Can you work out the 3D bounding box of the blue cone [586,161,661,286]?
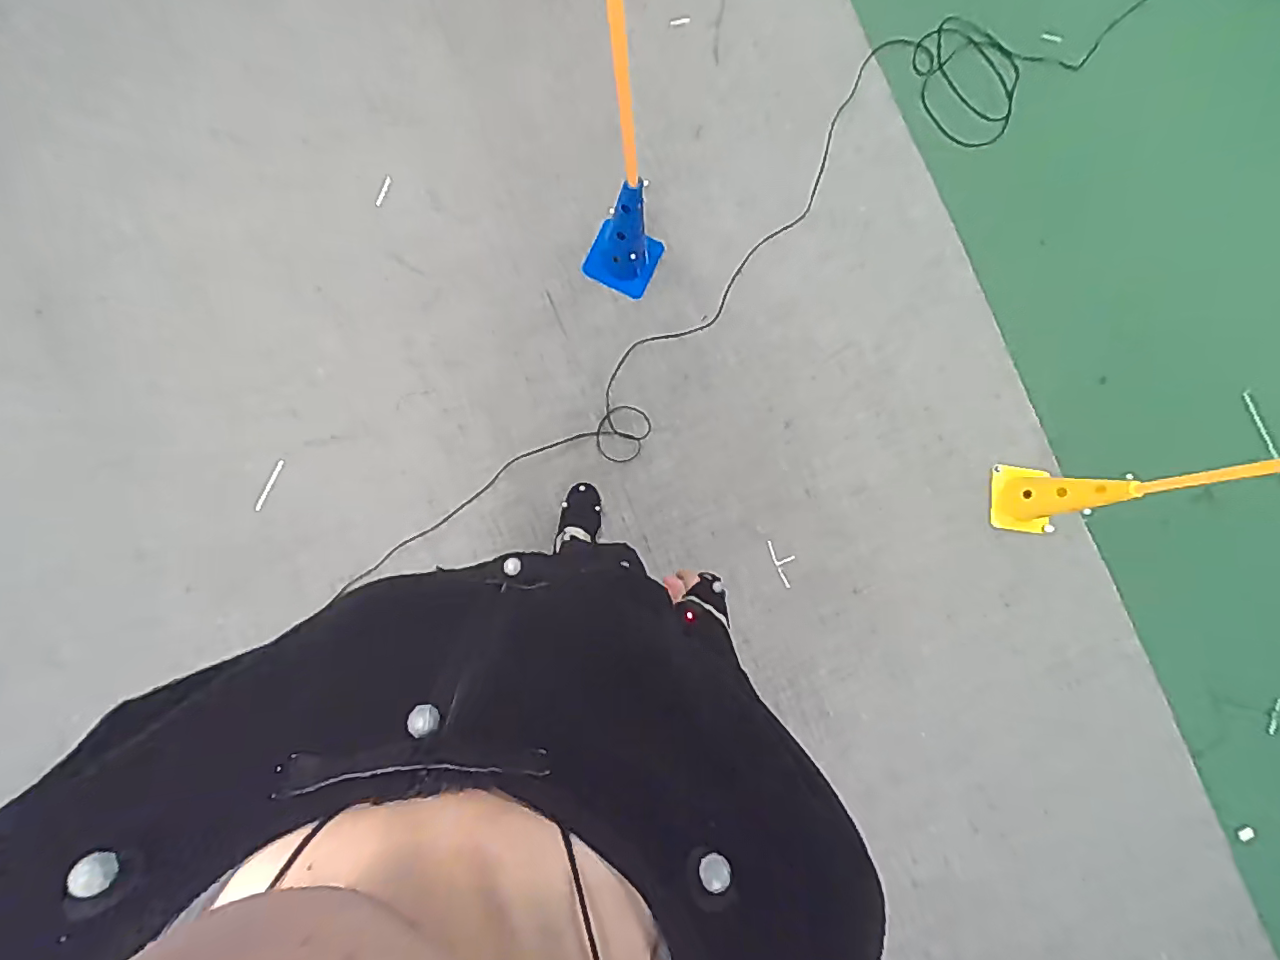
[{"bbox_3d":[-0.034,-0.689,1.425,0.193,0.380,0.192,23,83,-3],"label":"blue cone"}]
